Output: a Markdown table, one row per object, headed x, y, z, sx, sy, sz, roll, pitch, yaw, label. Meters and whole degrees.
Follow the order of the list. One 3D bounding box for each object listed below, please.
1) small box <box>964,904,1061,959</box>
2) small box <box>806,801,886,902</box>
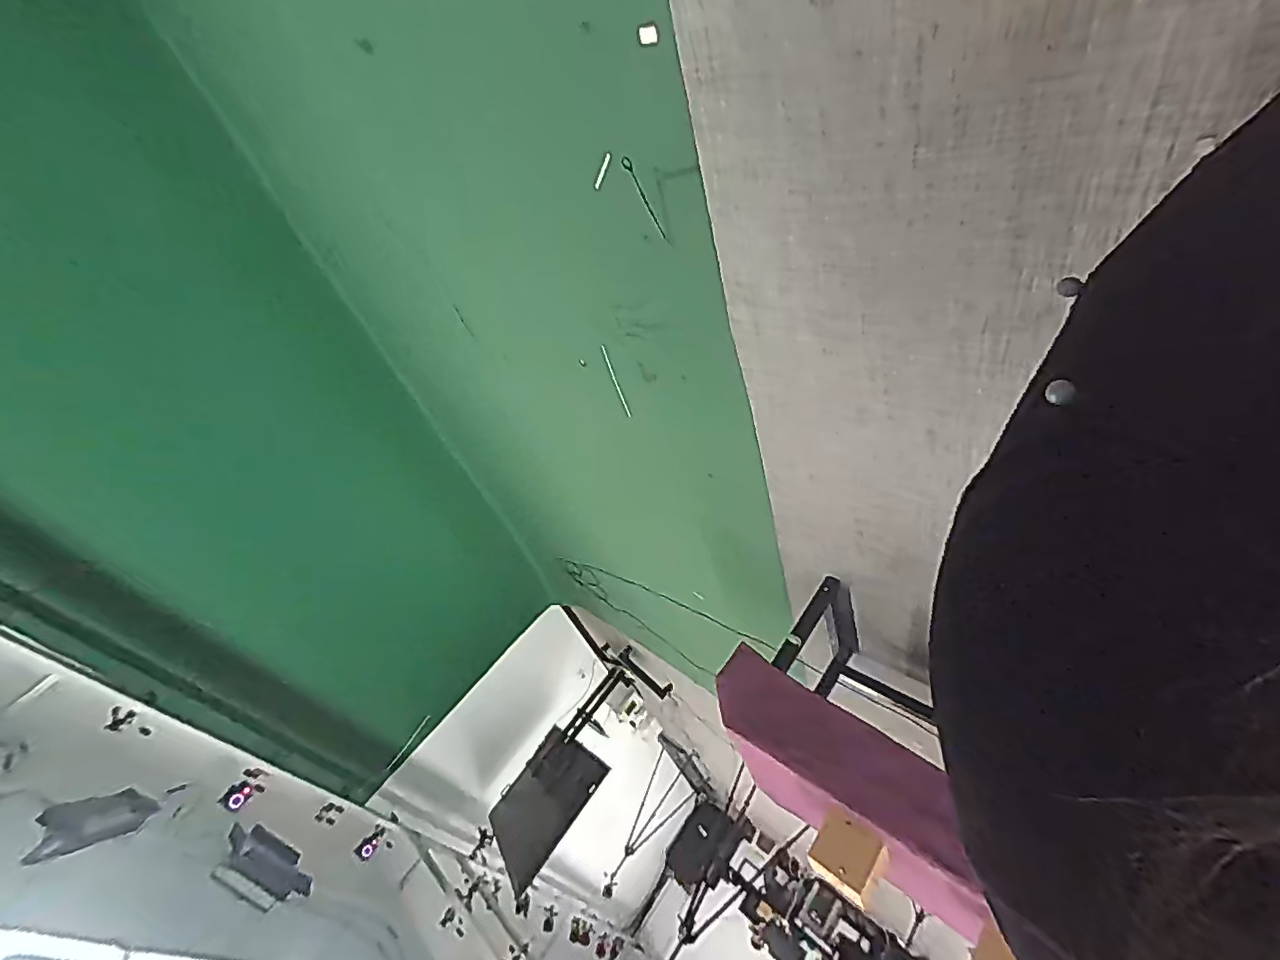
| x | y | z | sx | sy | sz | roll | pitch | yaw | label |
| --- | --- | --- | --- | --- | --- | --- | --- | --- | --- |
| 0.924 | 1.216 | 1.353 | 0.168 | 0.176 | 0.179 | 19 | 146 | 40 | small box |
| 0.627 | 1.118 | 1.634 | 0.168 | 0.176 | 0.179 | 18 | 146 | 41 | small box |
